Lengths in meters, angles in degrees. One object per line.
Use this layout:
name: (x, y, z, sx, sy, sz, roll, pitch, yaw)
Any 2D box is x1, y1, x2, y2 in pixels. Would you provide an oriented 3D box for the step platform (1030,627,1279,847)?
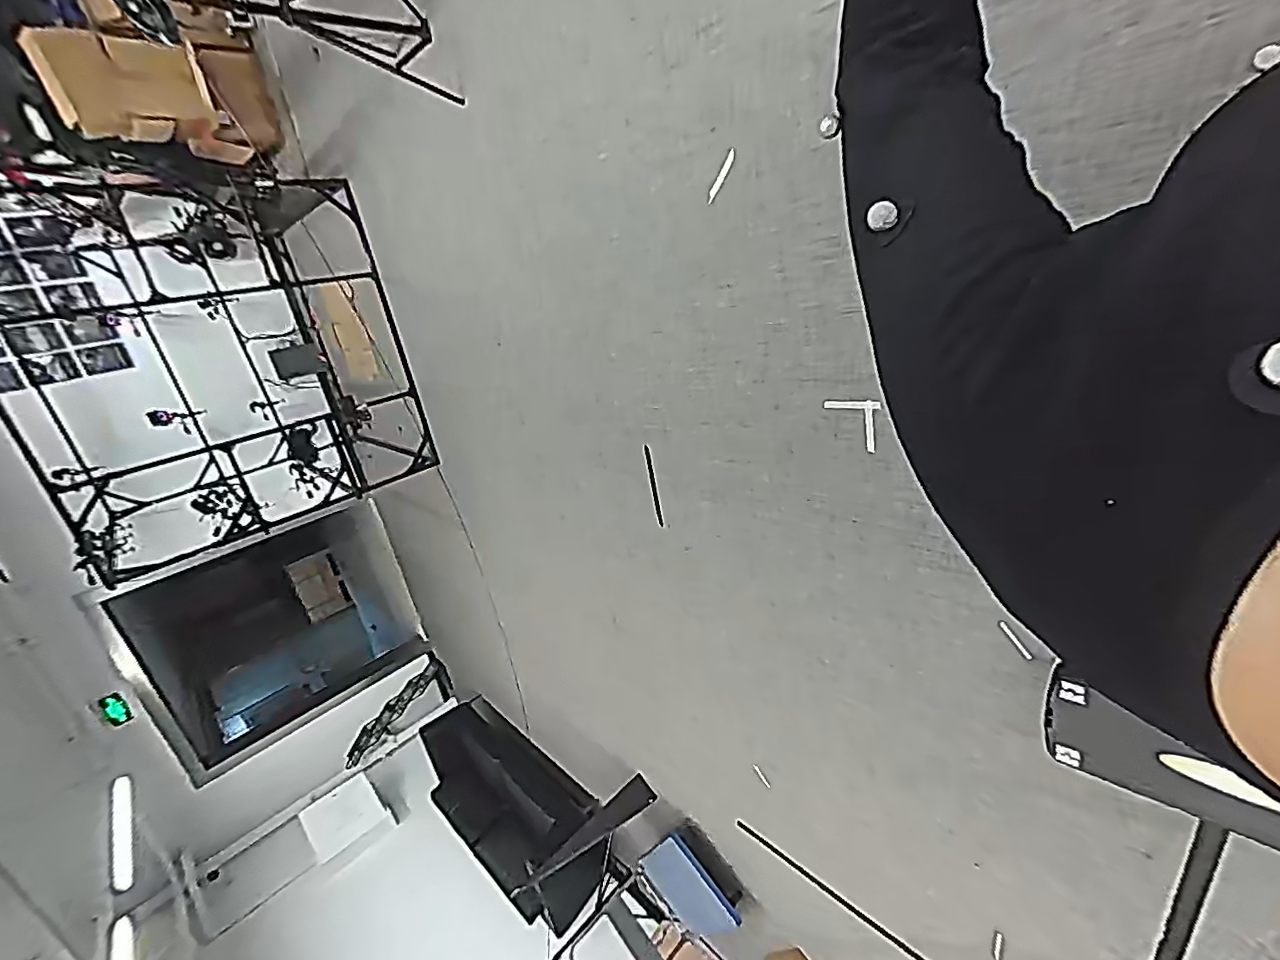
step platform: (1.266, 0.575, 1.170, 0.684, 0.204, 0.286, 11, 119, 48)
